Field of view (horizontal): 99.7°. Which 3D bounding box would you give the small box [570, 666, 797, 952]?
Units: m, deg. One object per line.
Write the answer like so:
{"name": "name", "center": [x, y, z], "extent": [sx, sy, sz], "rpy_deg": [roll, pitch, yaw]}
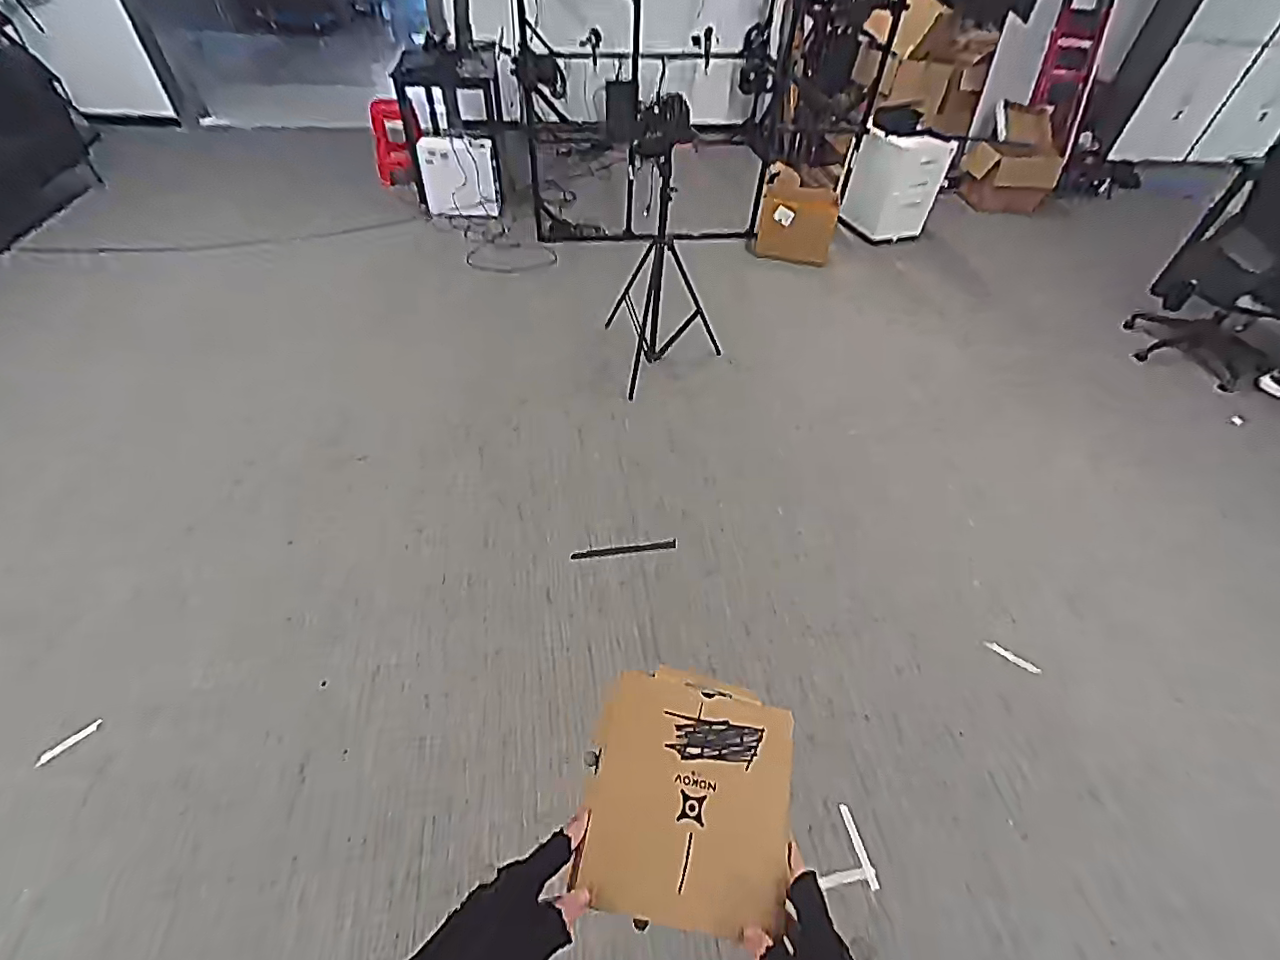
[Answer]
{"name": "small box", "center": [0.034, 0.301, 0.511], "extent": [0.168, 0.176, 0.179], "rpy_deg": [15, 57, -1]}
